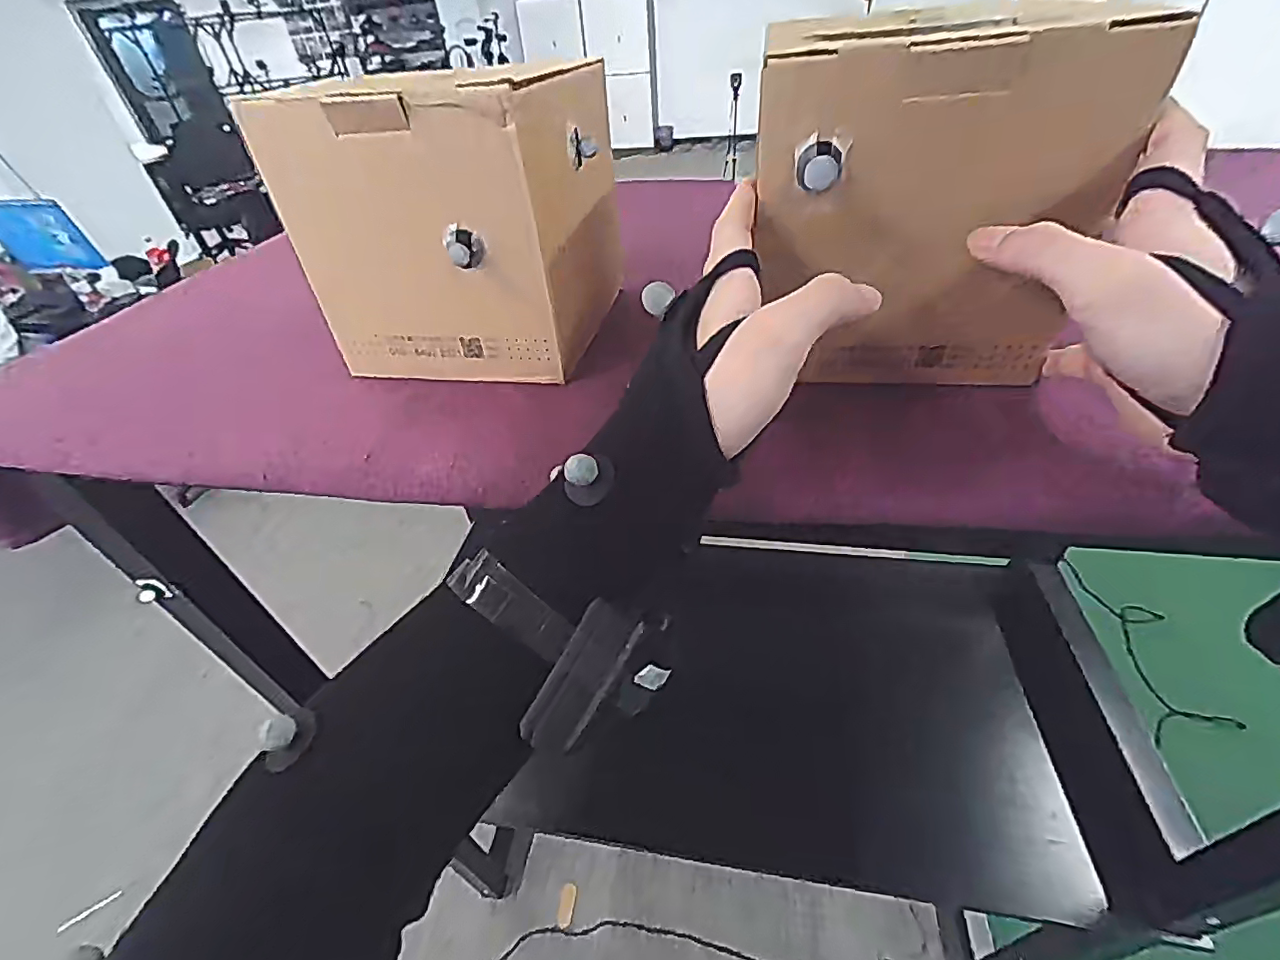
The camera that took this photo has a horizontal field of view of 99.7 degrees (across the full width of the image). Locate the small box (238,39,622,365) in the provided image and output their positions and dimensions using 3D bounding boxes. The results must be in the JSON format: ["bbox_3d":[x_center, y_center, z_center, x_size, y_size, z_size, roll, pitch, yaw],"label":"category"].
[{"bbox_3d":[-0.113,-0.194,0.384,0.168,0.176,0.179,5,41,12],"label":"small box"}]
